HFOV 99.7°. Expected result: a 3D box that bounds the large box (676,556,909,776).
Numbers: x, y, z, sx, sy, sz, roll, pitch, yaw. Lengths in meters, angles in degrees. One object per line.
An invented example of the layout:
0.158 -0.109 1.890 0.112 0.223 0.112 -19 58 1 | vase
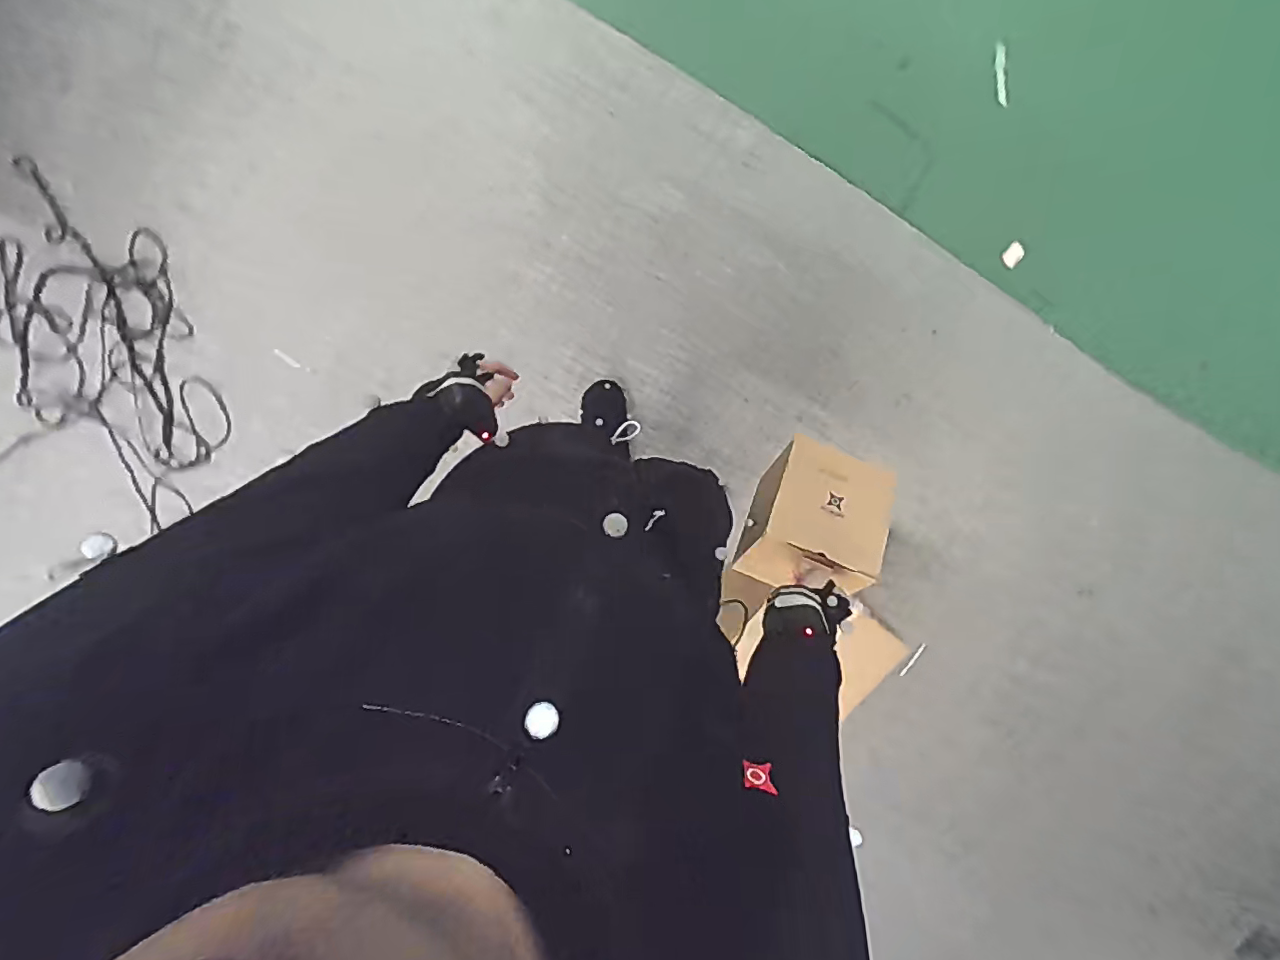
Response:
0.329 0.381 1.285 0.320 0.320 0.408 37 101 -7 | large box

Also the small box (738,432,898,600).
0.263 0.063 0.828 0.168 0.176 0.179 22 62 1 | small box
